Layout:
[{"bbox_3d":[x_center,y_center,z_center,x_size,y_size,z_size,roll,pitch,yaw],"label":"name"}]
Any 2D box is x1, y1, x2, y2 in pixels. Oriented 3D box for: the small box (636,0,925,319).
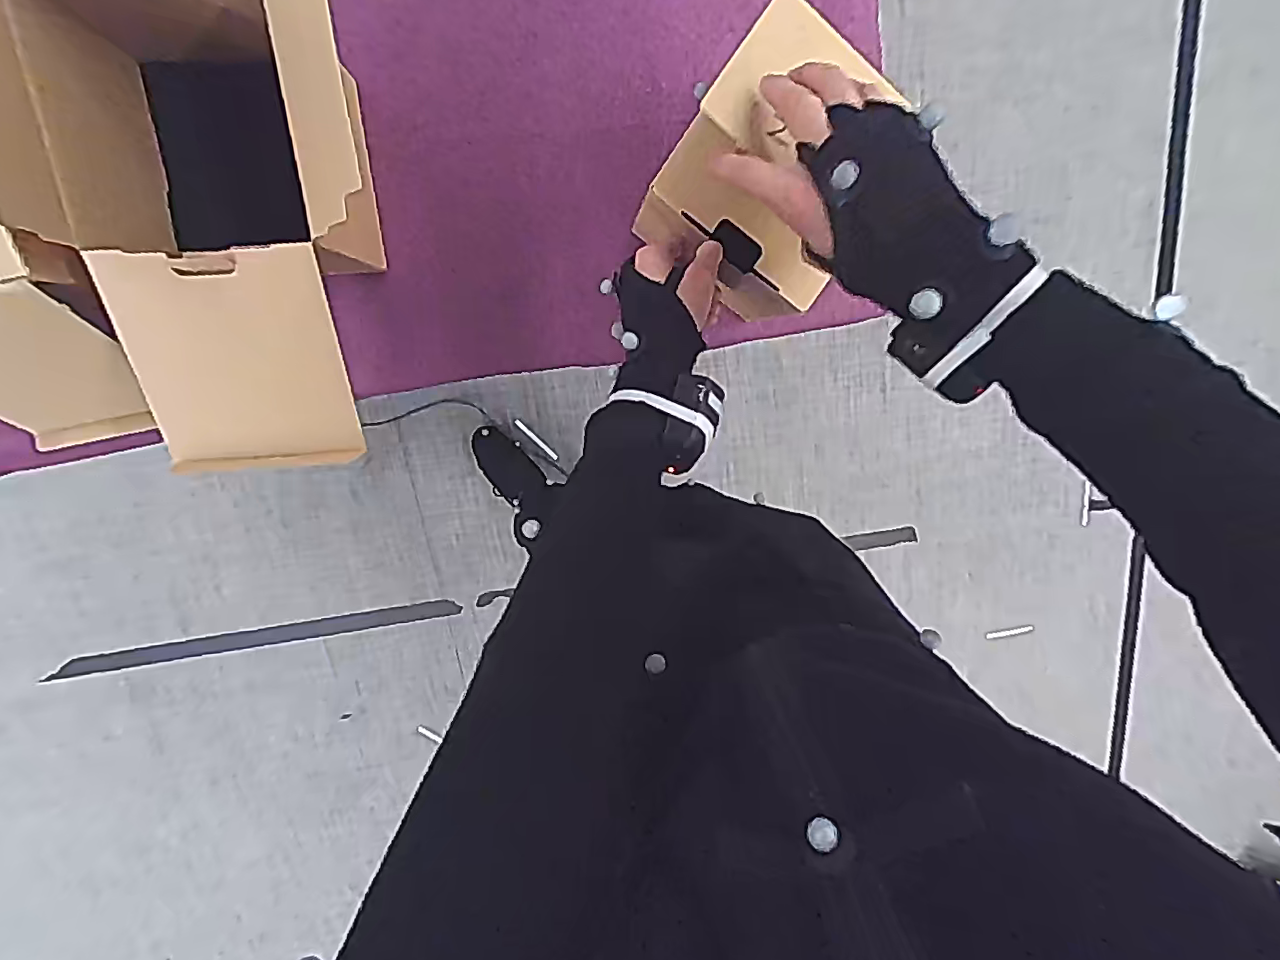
[{"bbox_3d":[0.110,-0.272,0.507,0.168,0.176,0.179,34,98,-13],"label":"small box"}]
